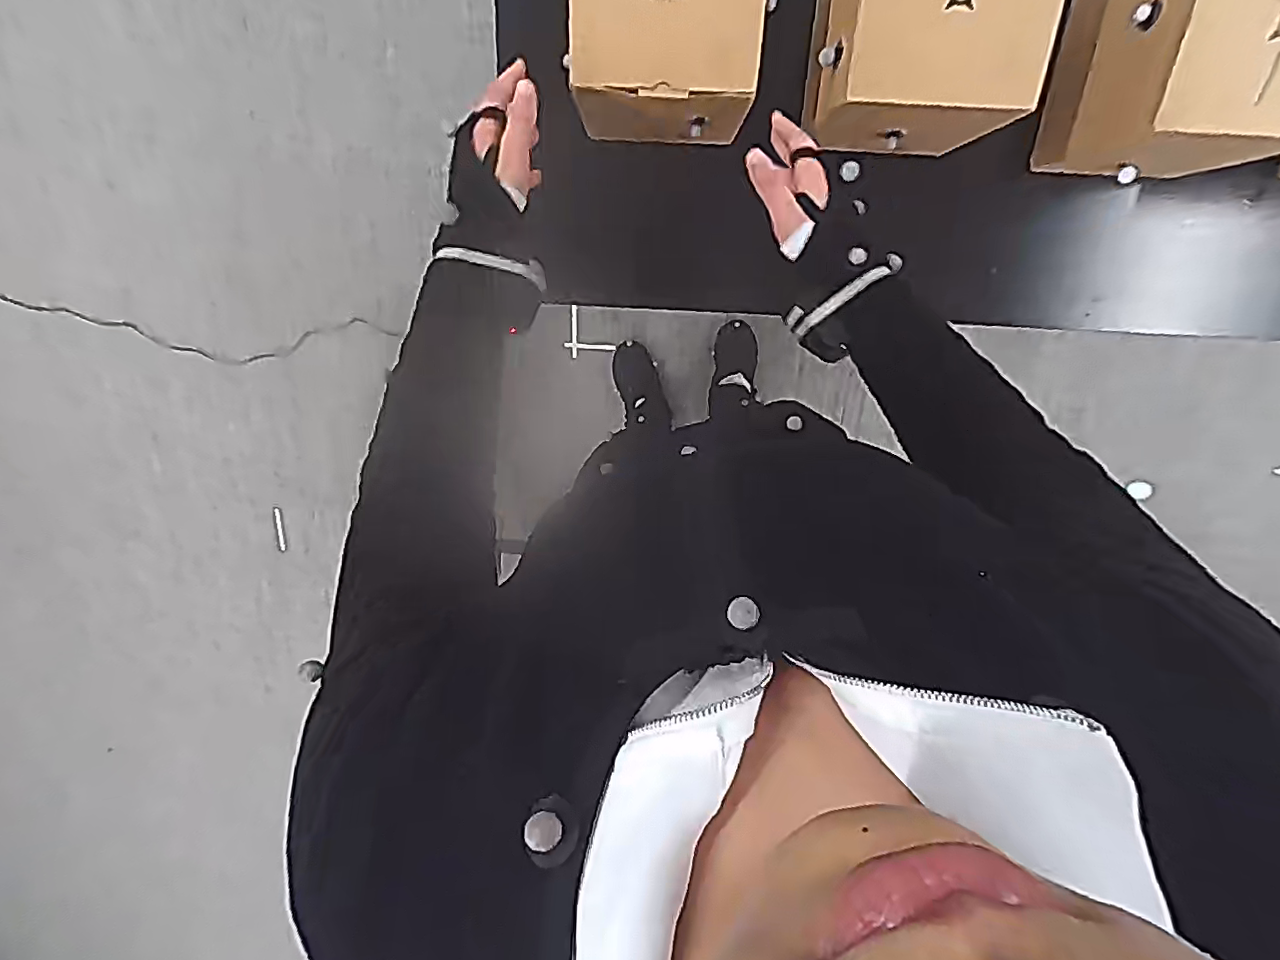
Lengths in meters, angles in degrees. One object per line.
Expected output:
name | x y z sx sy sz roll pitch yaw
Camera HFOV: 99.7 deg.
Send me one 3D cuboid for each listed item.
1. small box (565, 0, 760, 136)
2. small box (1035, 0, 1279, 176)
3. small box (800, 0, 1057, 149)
small box | 0.022 -0.447 0.515 0.168 0.176 0.179 2 108 1
small box | 0.525 -0.408 0.513 0.168 0.176 0.179 3 110 1
small box | 0.260 -0.432 0.512 0.168 0.176 0.179 3 109 0
